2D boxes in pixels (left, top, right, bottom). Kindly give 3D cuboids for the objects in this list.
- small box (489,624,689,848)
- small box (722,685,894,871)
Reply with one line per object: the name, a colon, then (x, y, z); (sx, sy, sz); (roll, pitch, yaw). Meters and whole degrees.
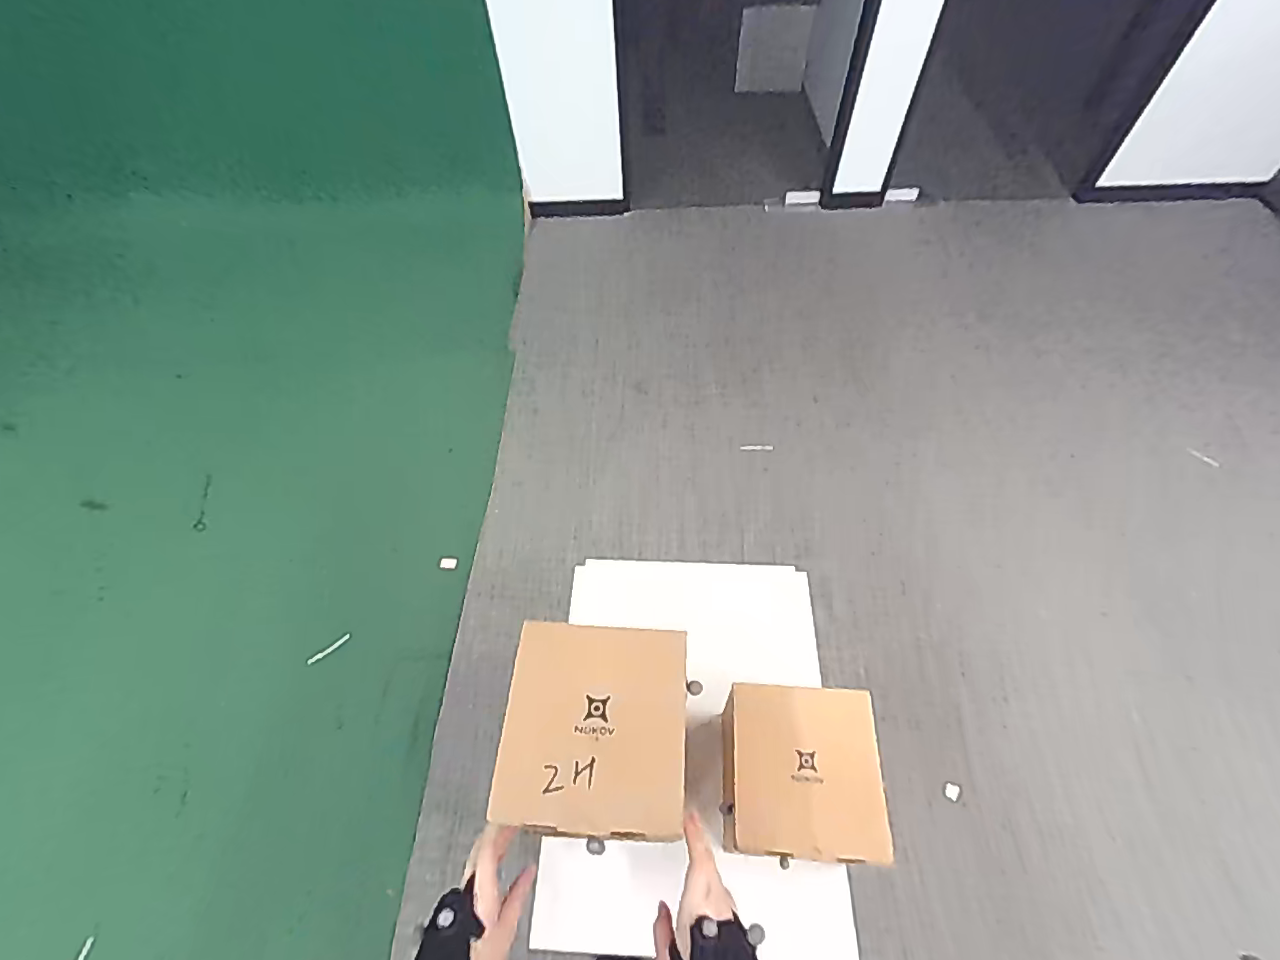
small box: (-0.038, 0.266, 0.557); (0.168, 0.176, 0.179); (2, 55, 4)
small box: (0.192, 0.372, 0.676); (0.168, 0.176, 0.179); (2, 56, 5)
